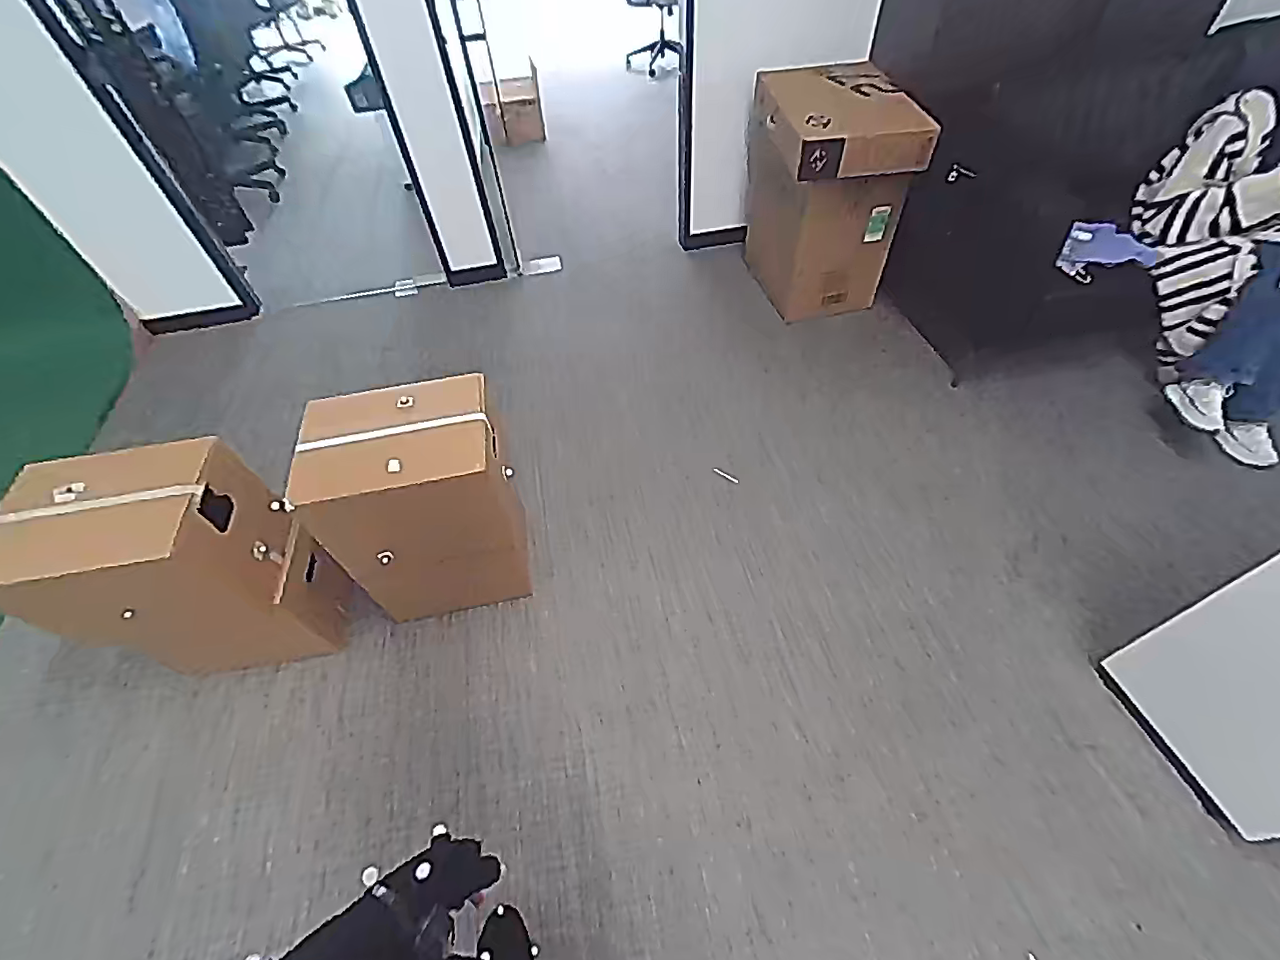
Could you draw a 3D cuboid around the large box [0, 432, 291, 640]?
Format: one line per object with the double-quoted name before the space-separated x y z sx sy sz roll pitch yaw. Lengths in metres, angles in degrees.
"large box" -1.098 0.134 1.221 0.408 0.320 0.320 -10 54 -2
